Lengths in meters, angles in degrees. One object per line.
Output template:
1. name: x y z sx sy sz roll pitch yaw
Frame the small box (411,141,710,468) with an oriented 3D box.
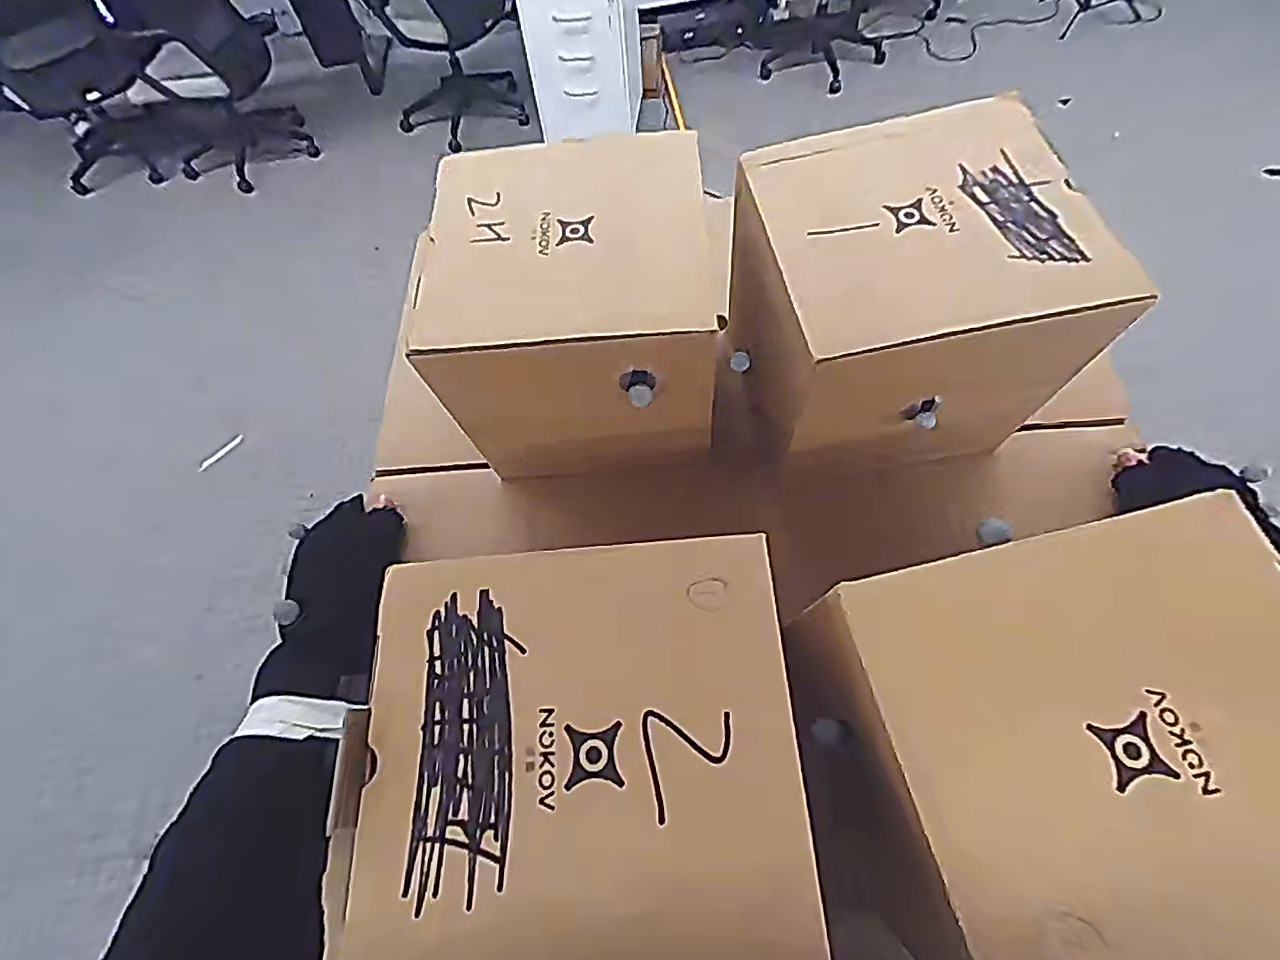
1. small box: -0.041 -0.118 0.413 0.179 0.176 0.168 -3 65 5
